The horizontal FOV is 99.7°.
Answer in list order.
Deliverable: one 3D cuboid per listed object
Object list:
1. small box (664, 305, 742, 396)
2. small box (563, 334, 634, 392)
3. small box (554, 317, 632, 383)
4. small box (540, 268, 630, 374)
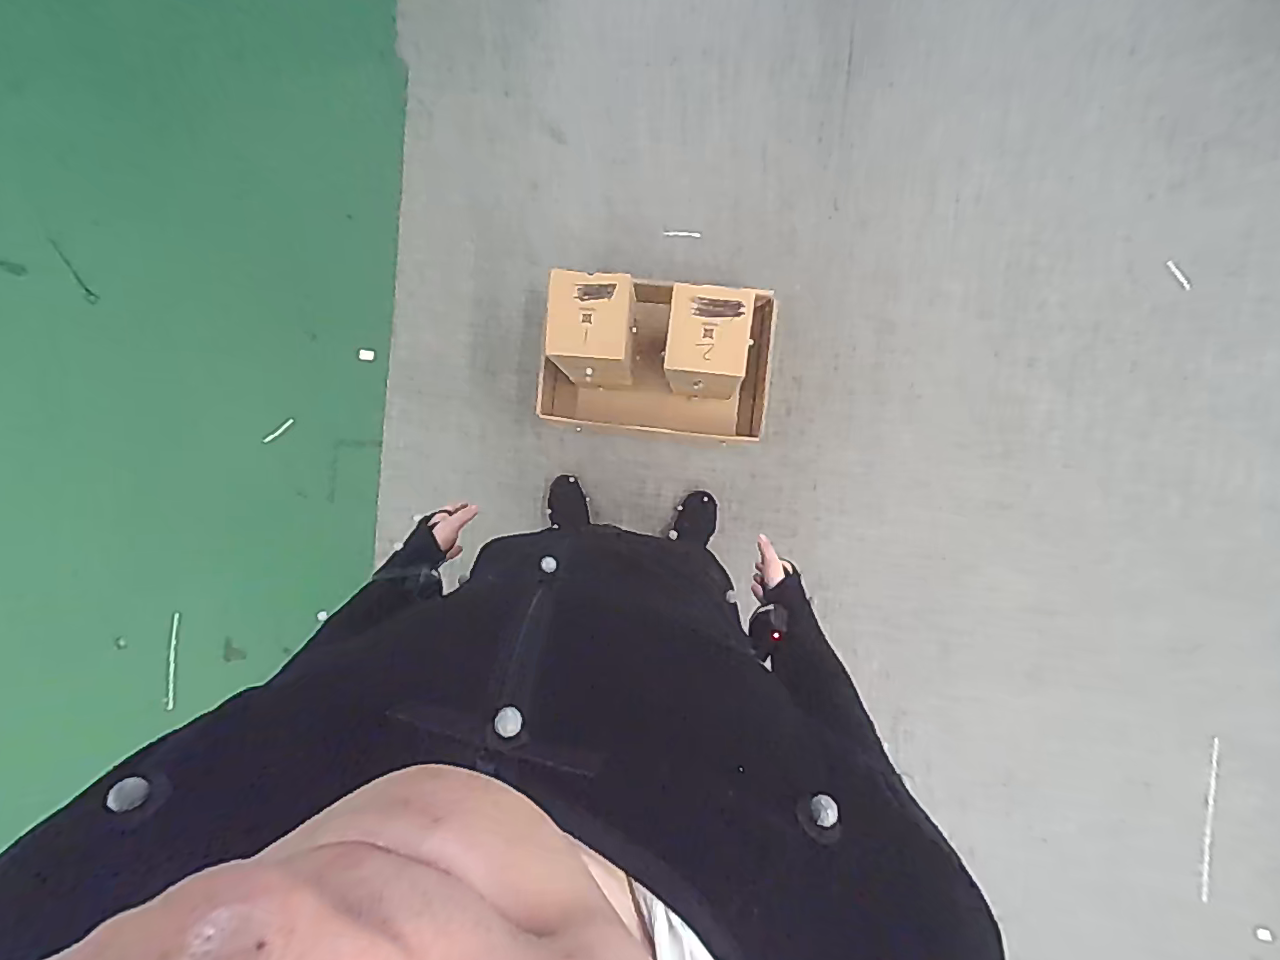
[{"bbox_3d":[0.150,-0.310,1.320,0.168,0.176,0.179,6,91,5],"label":"small box"},{"bbox_3d":[-0.108,-0.343,1.493,0.168,0.176,0.179,6,91,2],"label":"small box"},{"bbox_3d":[-0.110,-0.339,1.331,0.168,0.176,0.179,4,91,3],"label":"small box"},{"bbox_3d":[-0.112,-0.335,1.168,0.168,0.176,0.179,5,92,2],"label":"small box"}]
